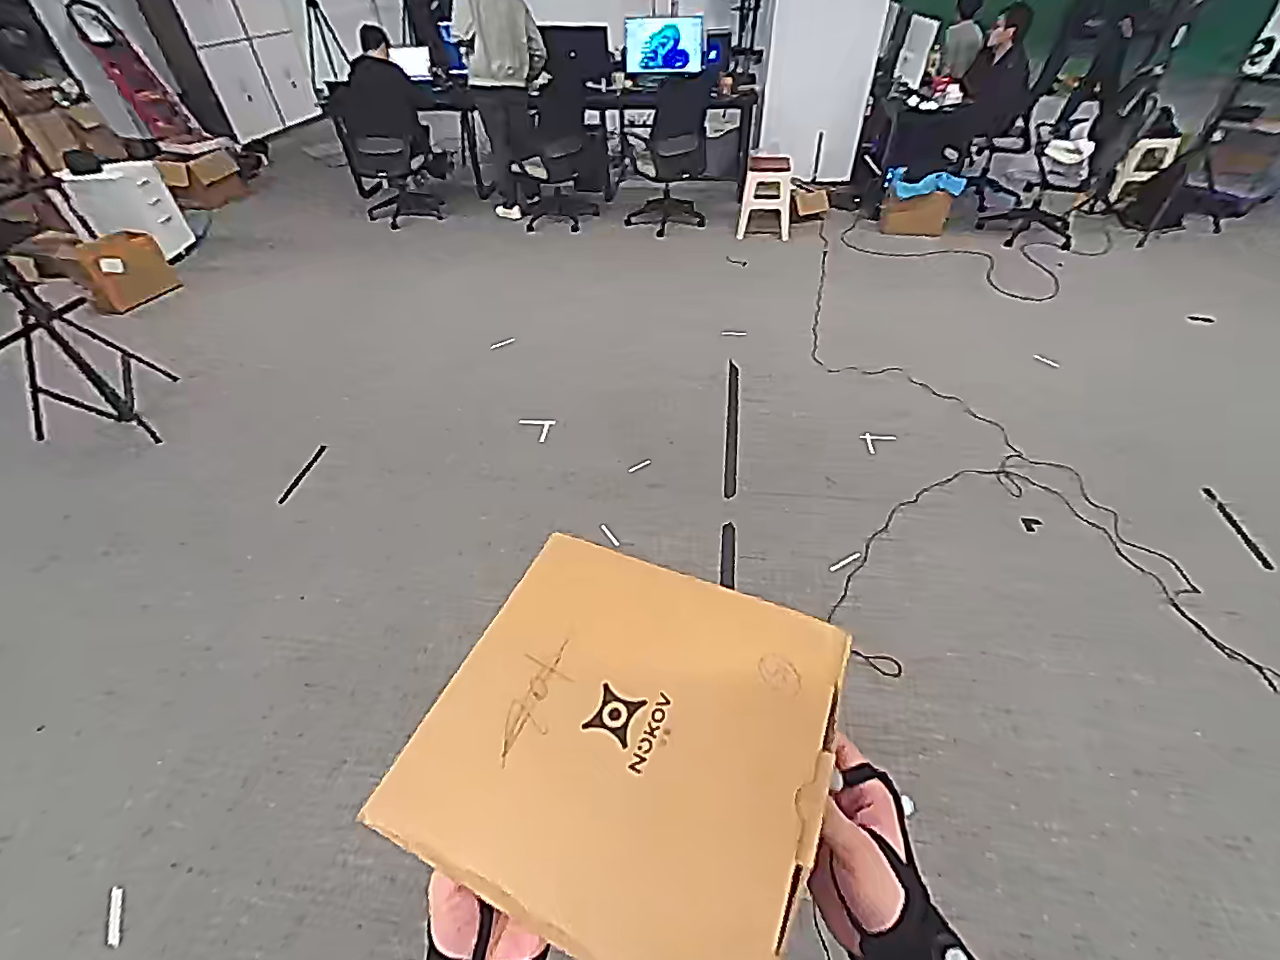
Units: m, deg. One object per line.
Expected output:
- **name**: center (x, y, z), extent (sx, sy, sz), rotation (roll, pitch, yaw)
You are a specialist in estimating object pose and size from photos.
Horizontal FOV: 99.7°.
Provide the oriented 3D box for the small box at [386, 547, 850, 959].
- **small box**: center (0.005, 0.172, 0.315), extent (0.179, 0.176, 0.168), rotation (14, 49, 21)
